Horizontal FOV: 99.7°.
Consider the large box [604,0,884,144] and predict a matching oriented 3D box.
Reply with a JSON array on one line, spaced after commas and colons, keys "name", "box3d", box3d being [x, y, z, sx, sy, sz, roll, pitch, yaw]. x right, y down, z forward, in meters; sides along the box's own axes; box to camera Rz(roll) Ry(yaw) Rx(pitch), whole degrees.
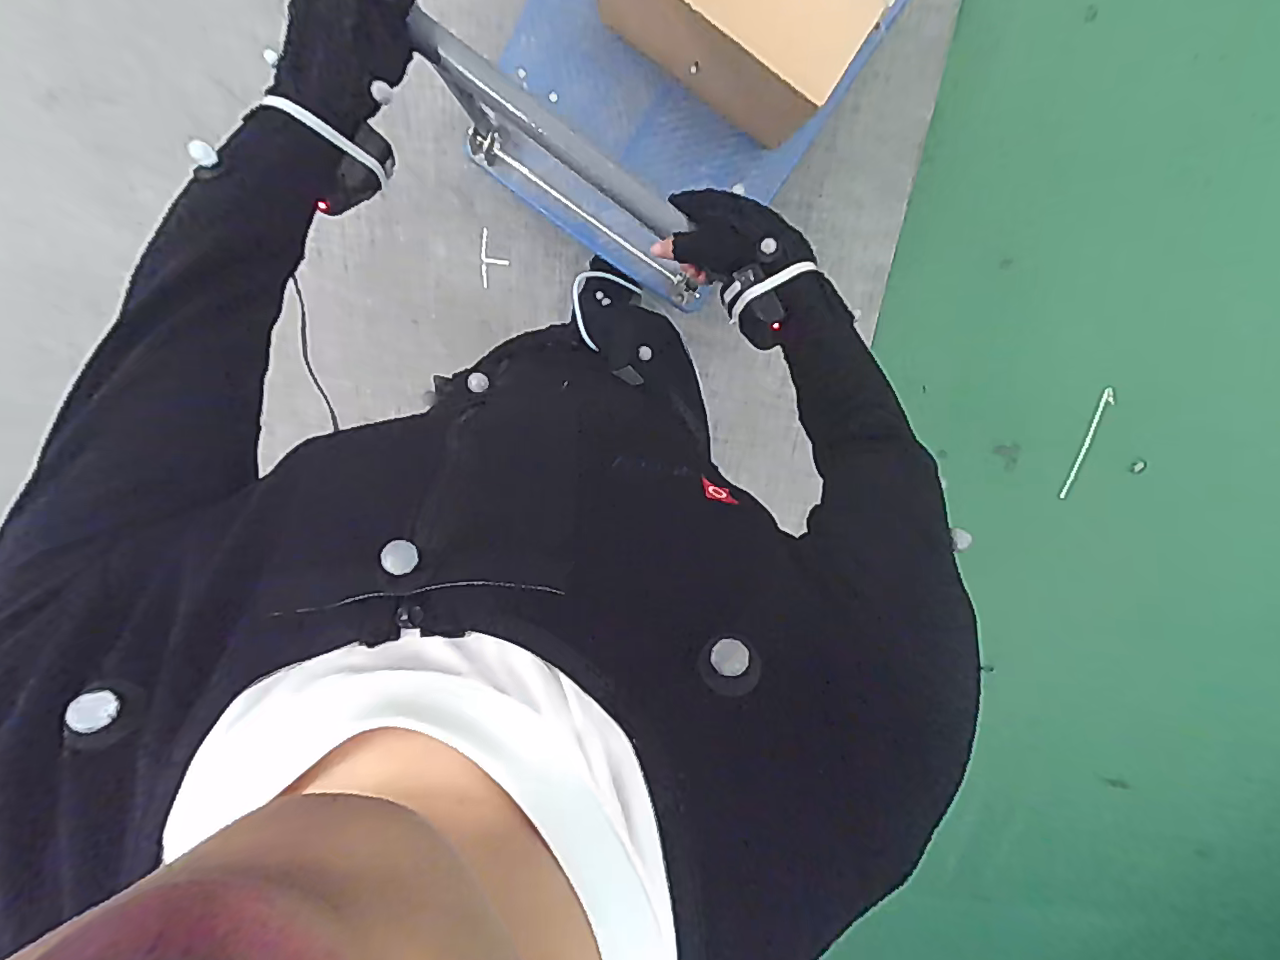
[{"name": "large box", "box3d": [0.181, -0.829, 0.866, 0.408, 0.320, 0.320, 30, 107, -10]}]
